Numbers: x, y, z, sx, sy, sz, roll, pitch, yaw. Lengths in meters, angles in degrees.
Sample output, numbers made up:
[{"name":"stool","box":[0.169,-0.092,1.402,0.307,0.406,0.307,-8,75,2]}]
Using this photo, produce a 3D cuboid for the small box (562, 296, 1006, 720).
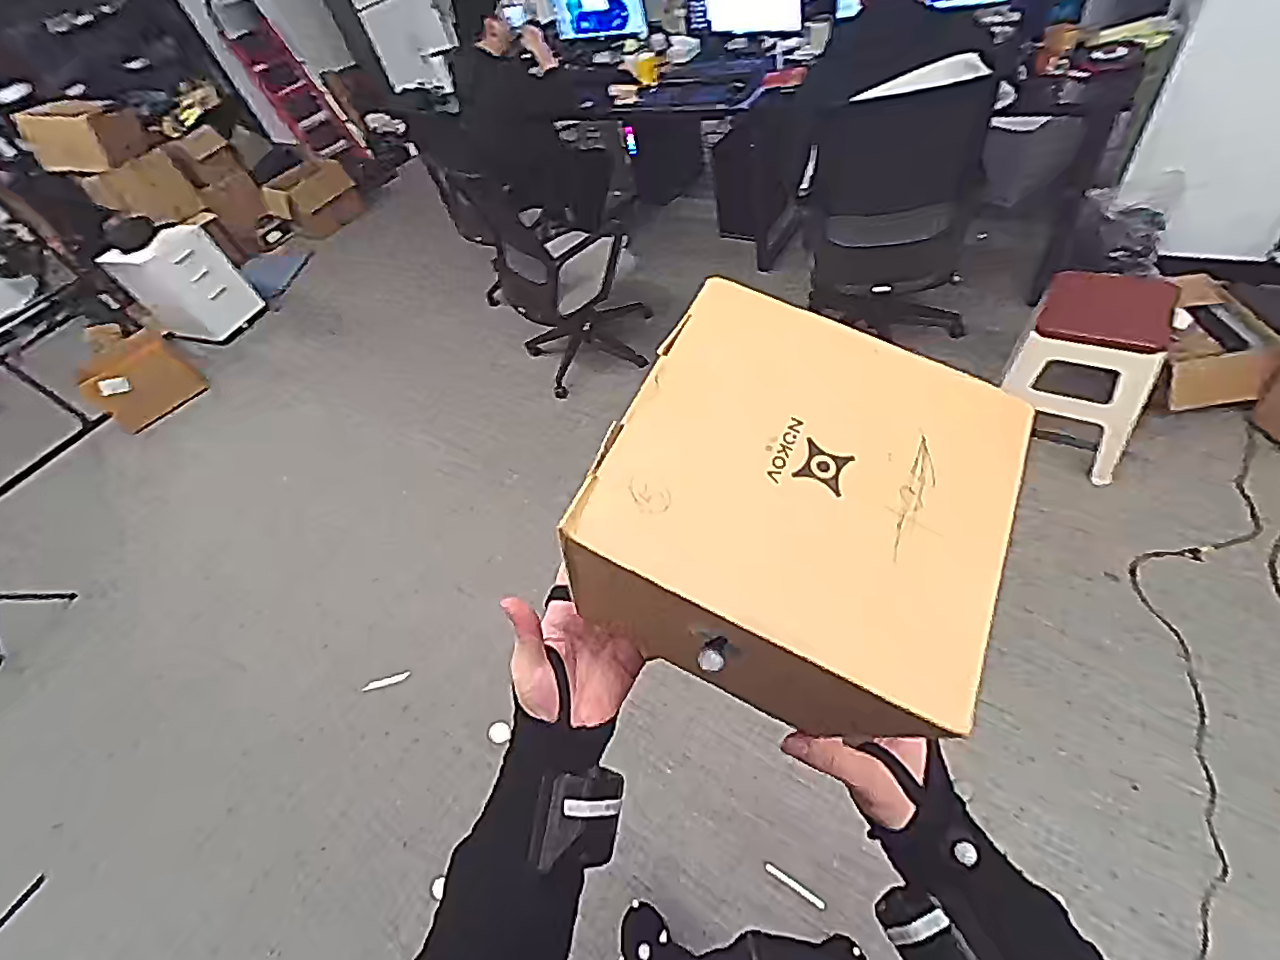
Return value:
[{"name":"small box","box":[0.071,0.031,0.327,0.179,0.176,0.168,25,66,7]}]
